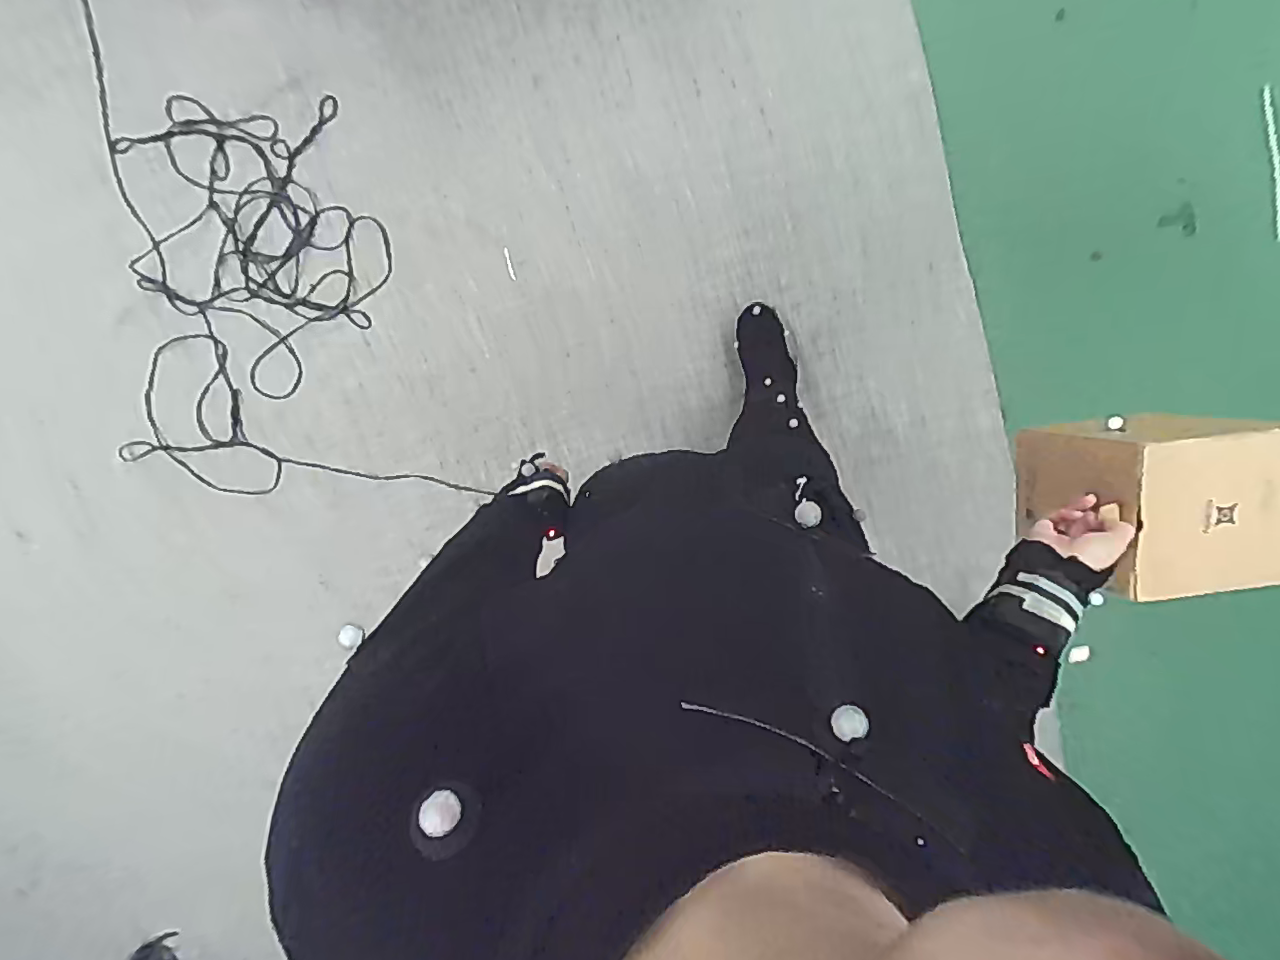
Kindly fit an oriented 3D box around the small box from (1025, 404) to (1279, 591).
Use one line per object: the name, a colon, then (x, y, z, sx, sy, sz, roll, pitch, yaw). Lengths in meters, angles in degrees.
small box: (0.573, 0.008, 0.609, 0.179, 0.176, 0.168, -9, 101, -2)
